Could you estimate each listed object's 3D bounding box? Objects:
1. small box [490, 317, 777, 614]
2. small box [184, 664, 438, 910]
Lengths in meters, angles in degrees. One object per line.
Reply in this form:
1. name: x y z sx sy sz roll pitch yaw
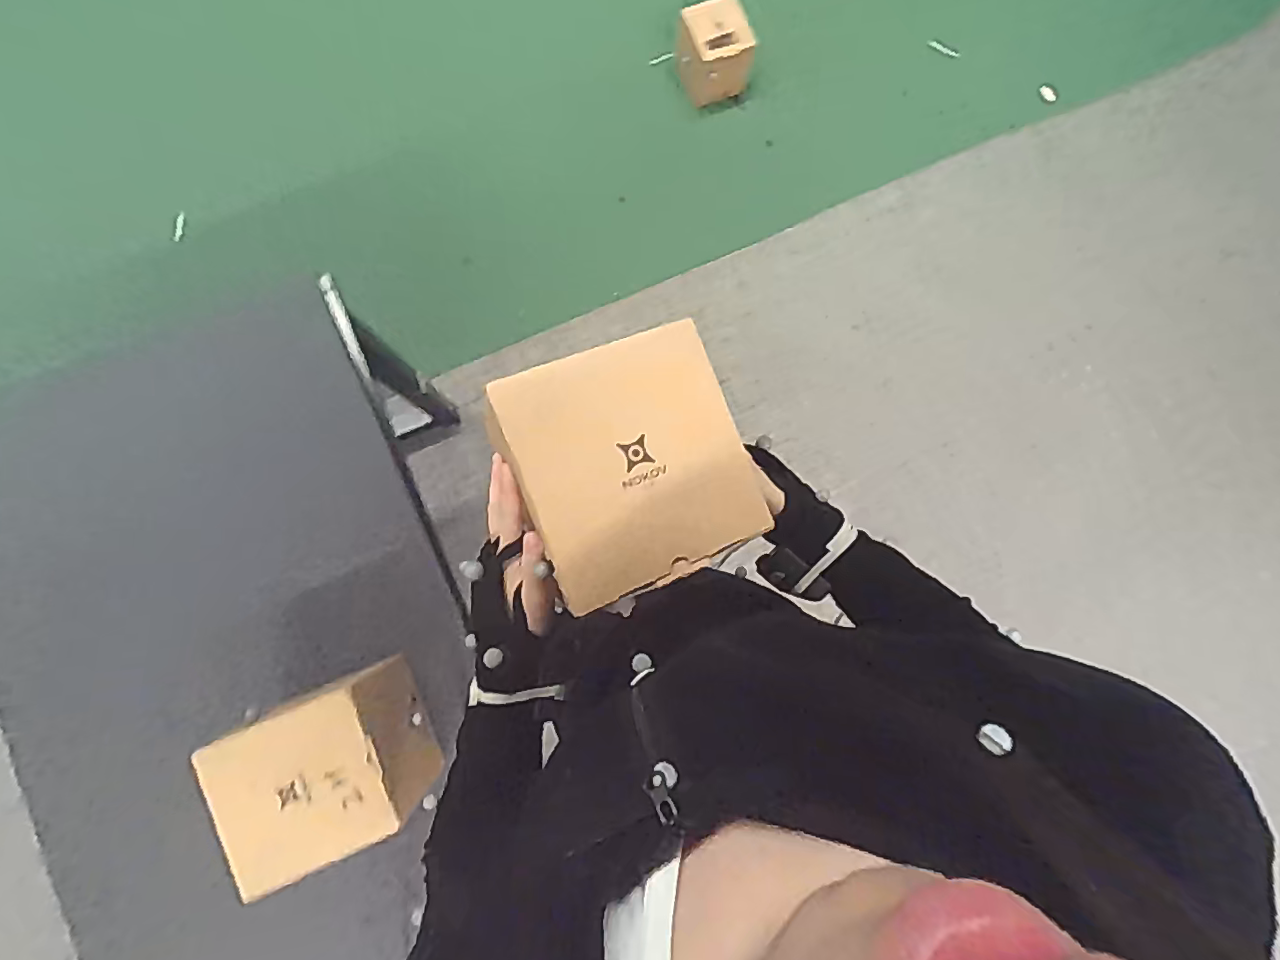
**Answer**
1. small box: -0.020 -0.007 0.460 0.168 0.176 0.179 -22 90 -15
2. small box: -0.373 0.345 0.646 0.179 0.176 0.168 -23 86 -6
